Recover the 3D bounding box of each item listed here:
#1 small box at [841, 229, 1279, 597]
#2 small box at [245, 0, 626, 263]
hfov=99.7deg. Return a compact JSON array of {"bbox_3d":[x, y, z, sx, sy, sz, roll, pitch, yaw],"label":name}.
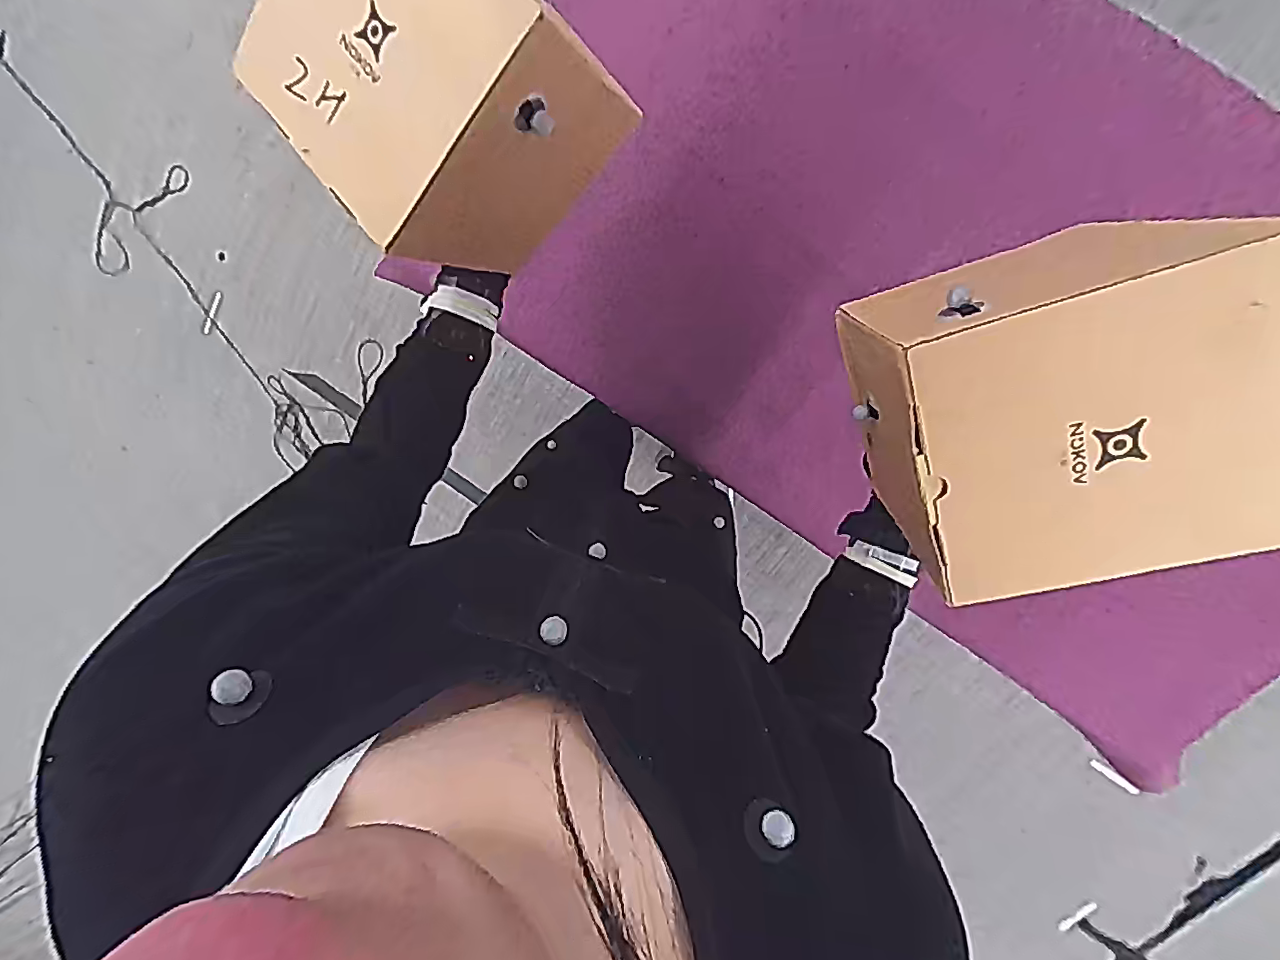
[{"bbox_3d":[0.251,-0.054,0.355,0.179,0.176,0.168,-15,111,15],"label":"small box"},{"bbox_3d":[-0.130,-0.290,0.402,0.179,0.176,0.168,-40,89,25],"label":"small box"}]
